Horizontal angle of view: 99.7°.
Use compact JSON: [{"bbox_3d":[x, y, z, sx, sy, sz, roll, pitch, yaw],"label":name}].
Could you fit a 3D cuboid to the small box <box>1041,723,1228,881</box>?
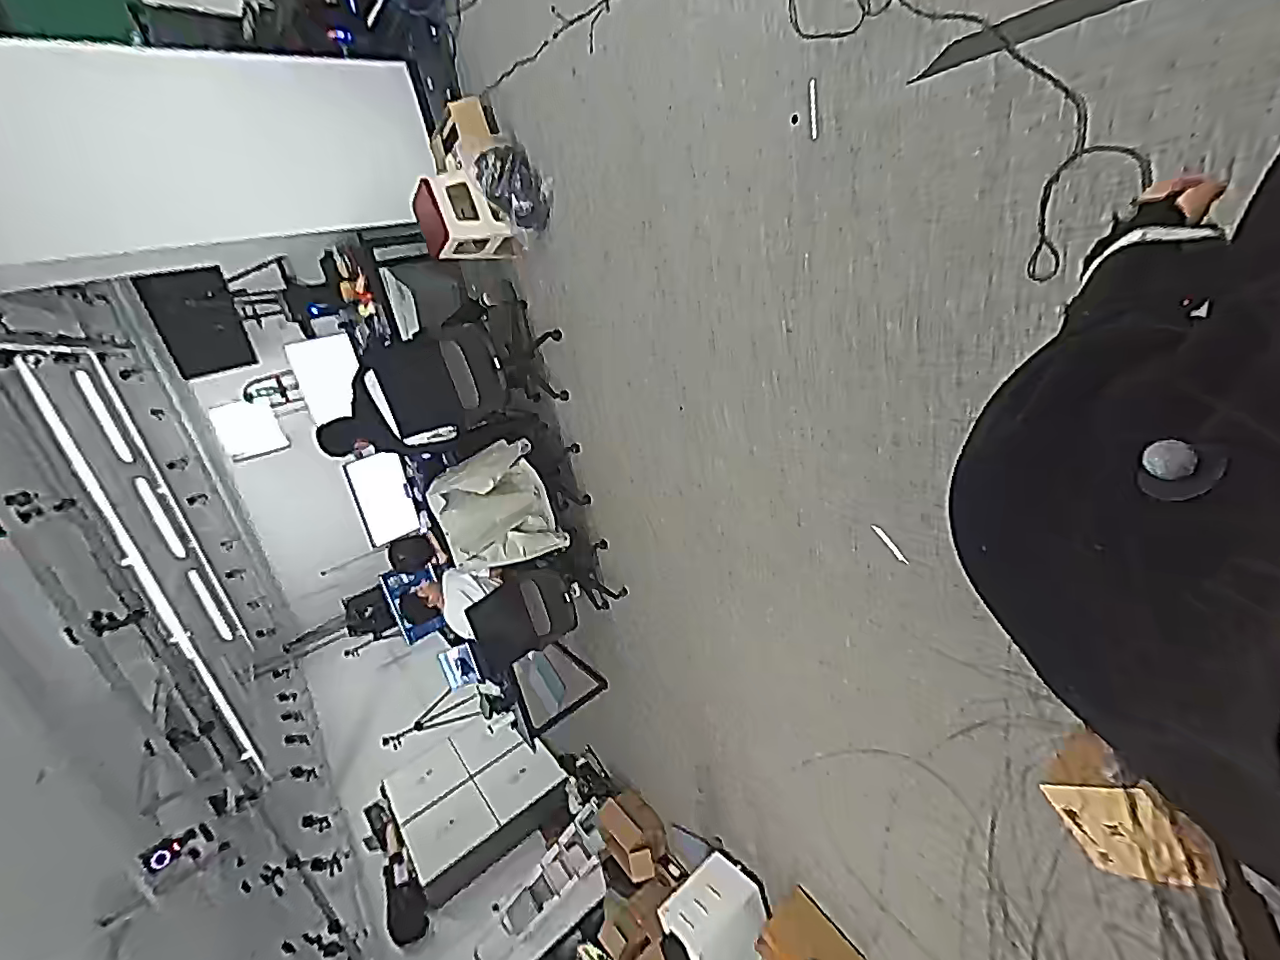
[{"bbox_3d":[0.866,0.548,0.946,0.168,0.176,0.179,58,148,12],"label":"small box"}]
